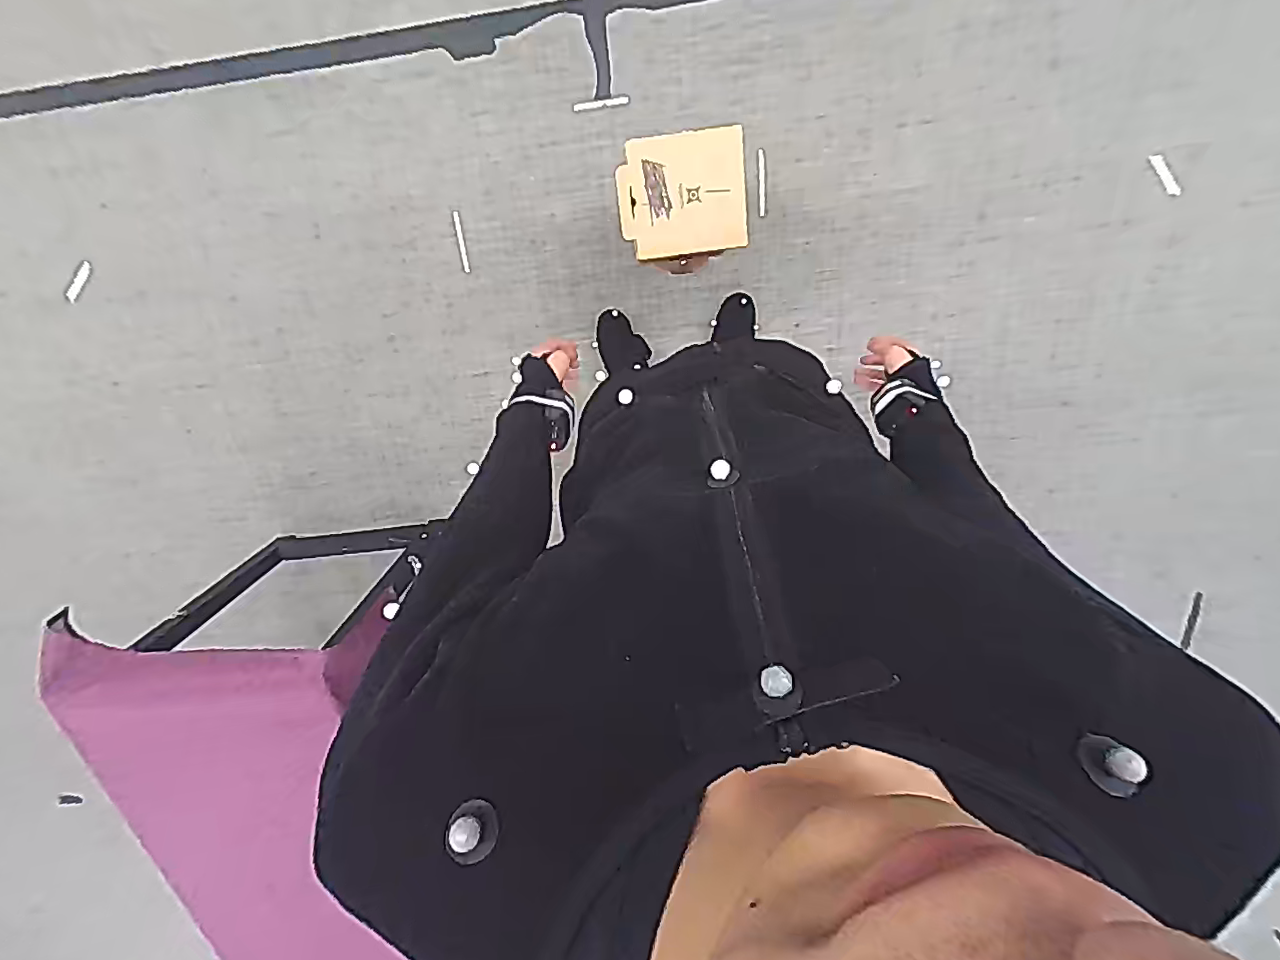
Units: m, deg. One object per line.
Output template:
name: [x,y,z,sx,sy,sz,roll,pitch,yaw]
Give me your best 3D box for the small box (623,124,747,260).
small box: [0.071,-0.457,0.883,0.179,0.176,0.168,-7,112,2]
